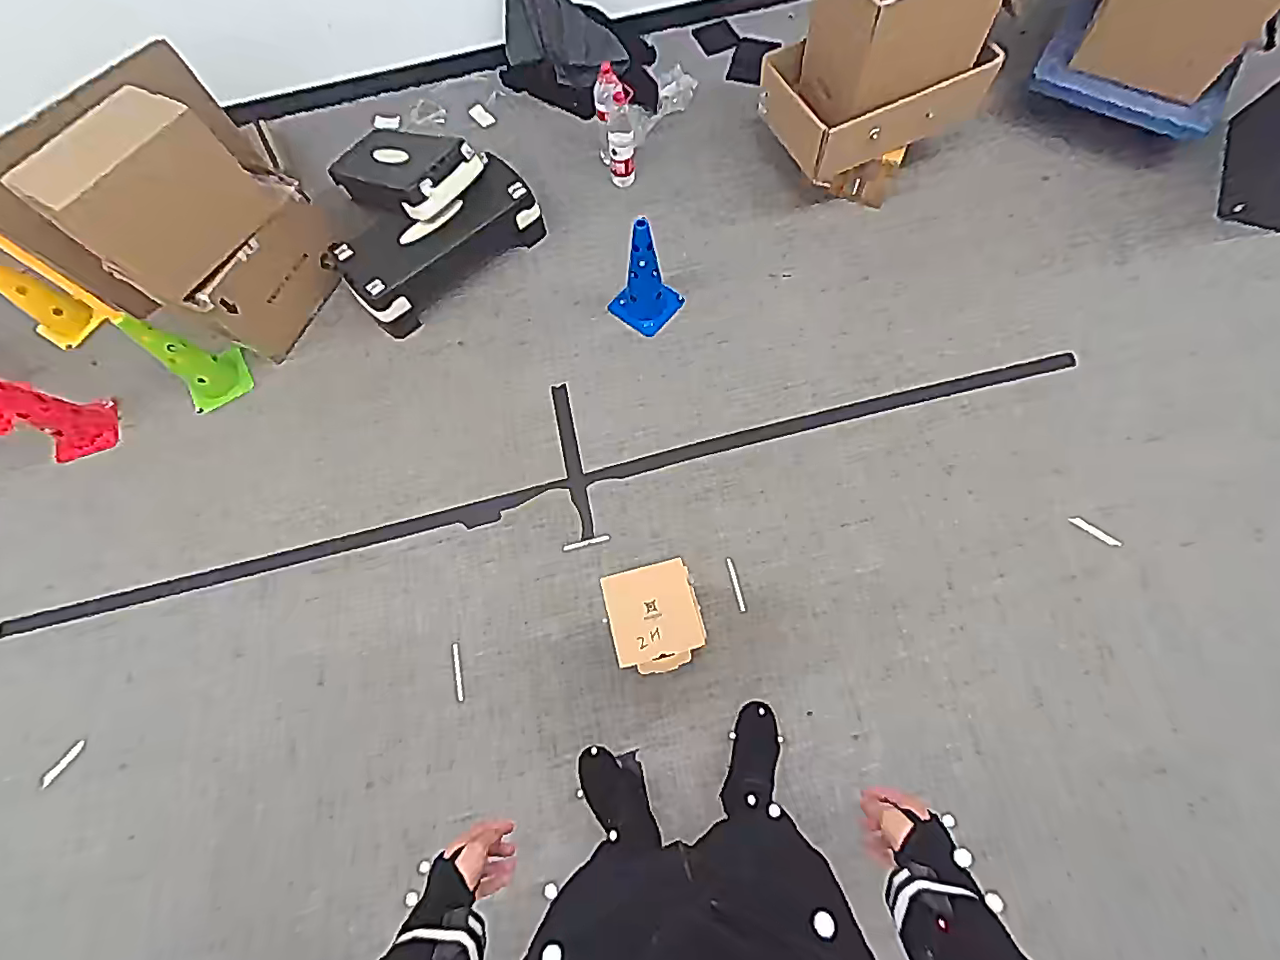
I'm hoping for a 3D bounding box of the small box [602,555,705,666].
[{"bbox_3d":[0.026,0.270,1.095,0.168,0.176,0.179,-14,71,-2],"label":"small box"}]
